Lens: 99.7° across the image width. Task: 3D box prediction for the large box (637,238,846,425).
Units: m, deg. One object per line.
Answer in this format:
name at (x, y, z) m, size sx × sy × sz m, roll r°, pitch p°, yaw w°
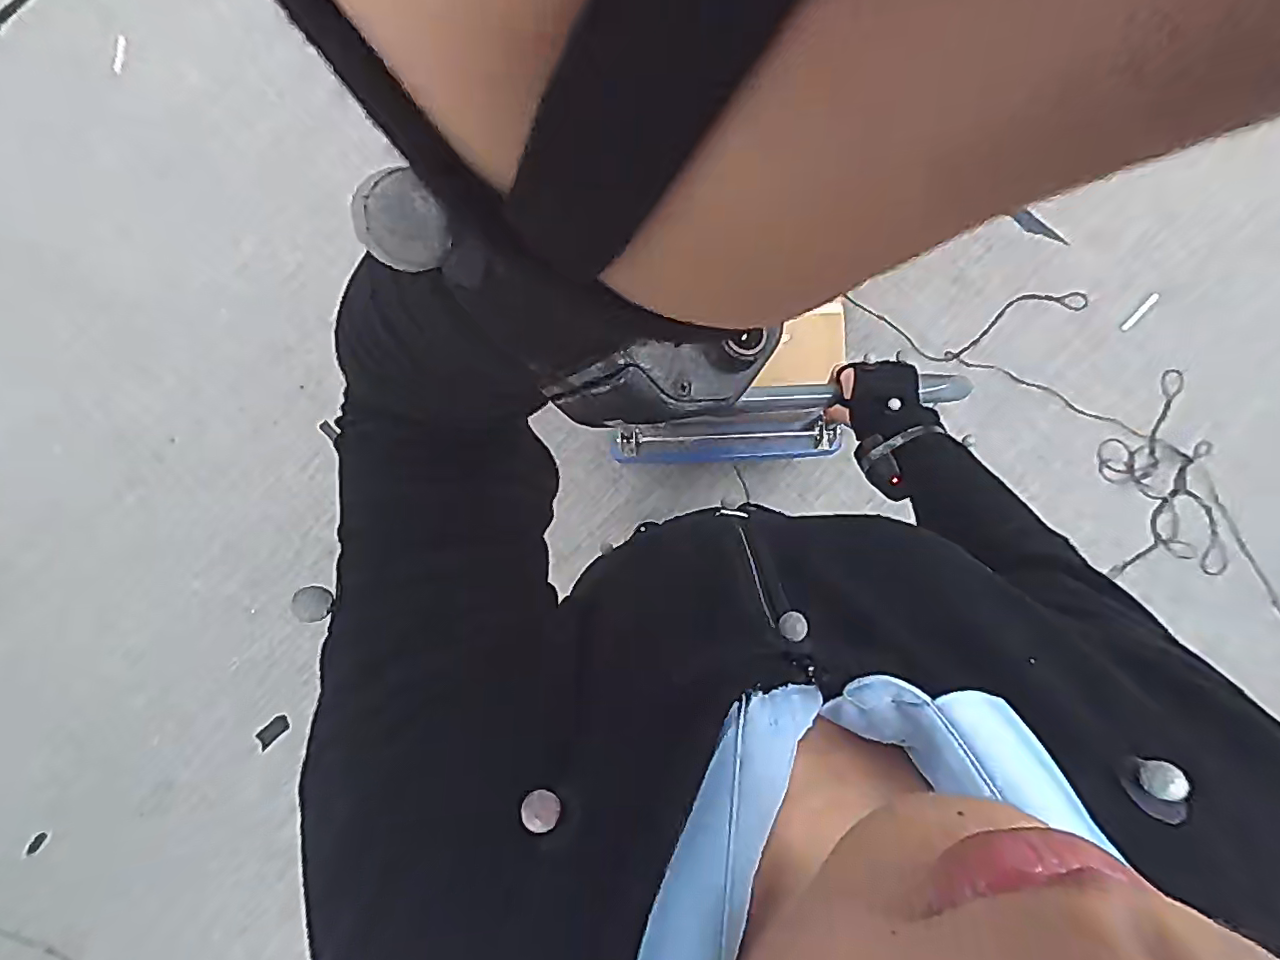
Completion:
large box at (0.204, -0.314, 1.228) m, size 0.408 × 0.320 × 0.320 m, roll -2°, pitch 85°, yaw 2°
